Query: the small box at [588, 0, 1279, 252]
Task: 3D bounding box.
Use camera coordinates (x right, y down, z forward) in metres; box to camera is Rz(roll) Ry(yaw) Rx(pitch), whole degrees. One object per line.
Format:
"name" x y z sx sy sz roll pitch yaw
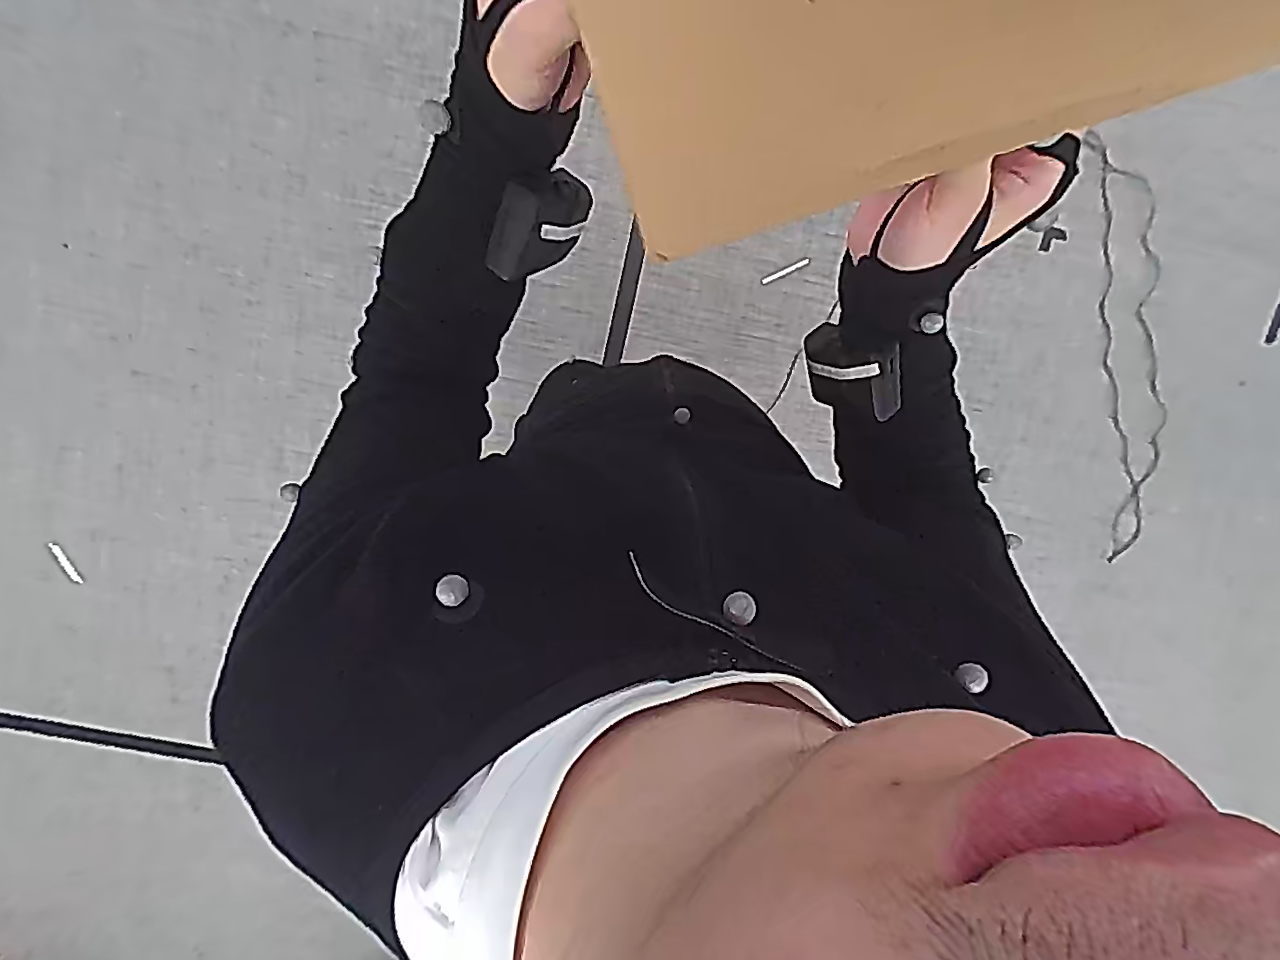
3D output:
"small box" 0.070 -0.194 0.163 0.179 0.176 0.168 -13 121 15
